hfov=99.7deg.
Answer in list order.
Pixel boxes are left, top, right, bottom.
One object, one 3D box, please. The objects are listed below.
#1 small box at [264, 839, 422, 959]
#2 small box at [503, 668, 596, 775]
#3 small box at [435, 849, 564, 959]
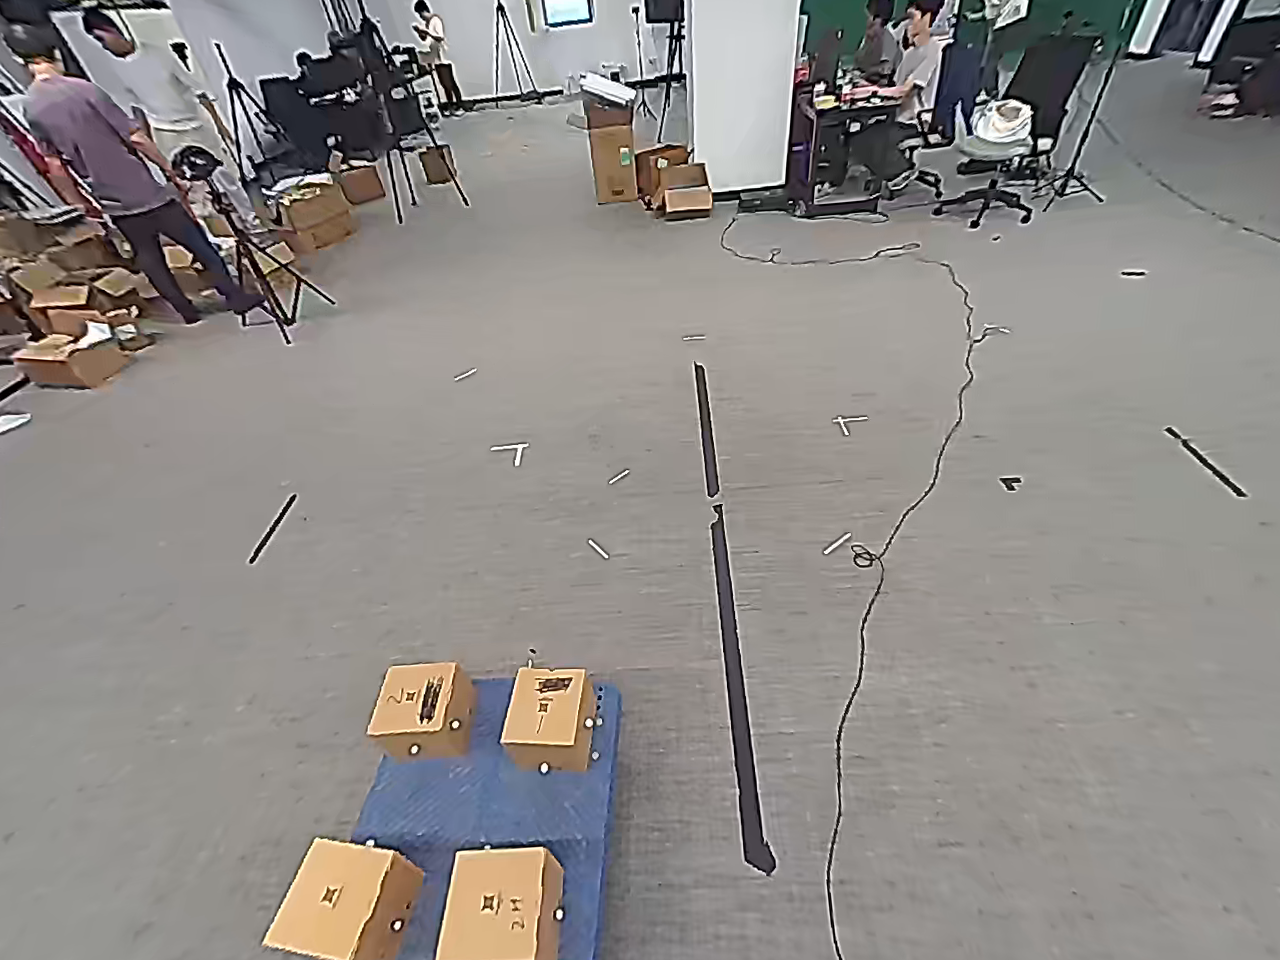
[{"bbox_3d":[-0.557,0.823,1.042,0.179,0.176,0.168,4,42,9],"label":"small box"},{"bbox_3d":[-0.203,0.566,1.270,0.168,0.176,0.179,-1,44,8],"label":"small box"},{"bbox_3d":[-0.250,0.811,1.009,0.179,0.176,0.168,-5,43,3],"label":"small box"}]
